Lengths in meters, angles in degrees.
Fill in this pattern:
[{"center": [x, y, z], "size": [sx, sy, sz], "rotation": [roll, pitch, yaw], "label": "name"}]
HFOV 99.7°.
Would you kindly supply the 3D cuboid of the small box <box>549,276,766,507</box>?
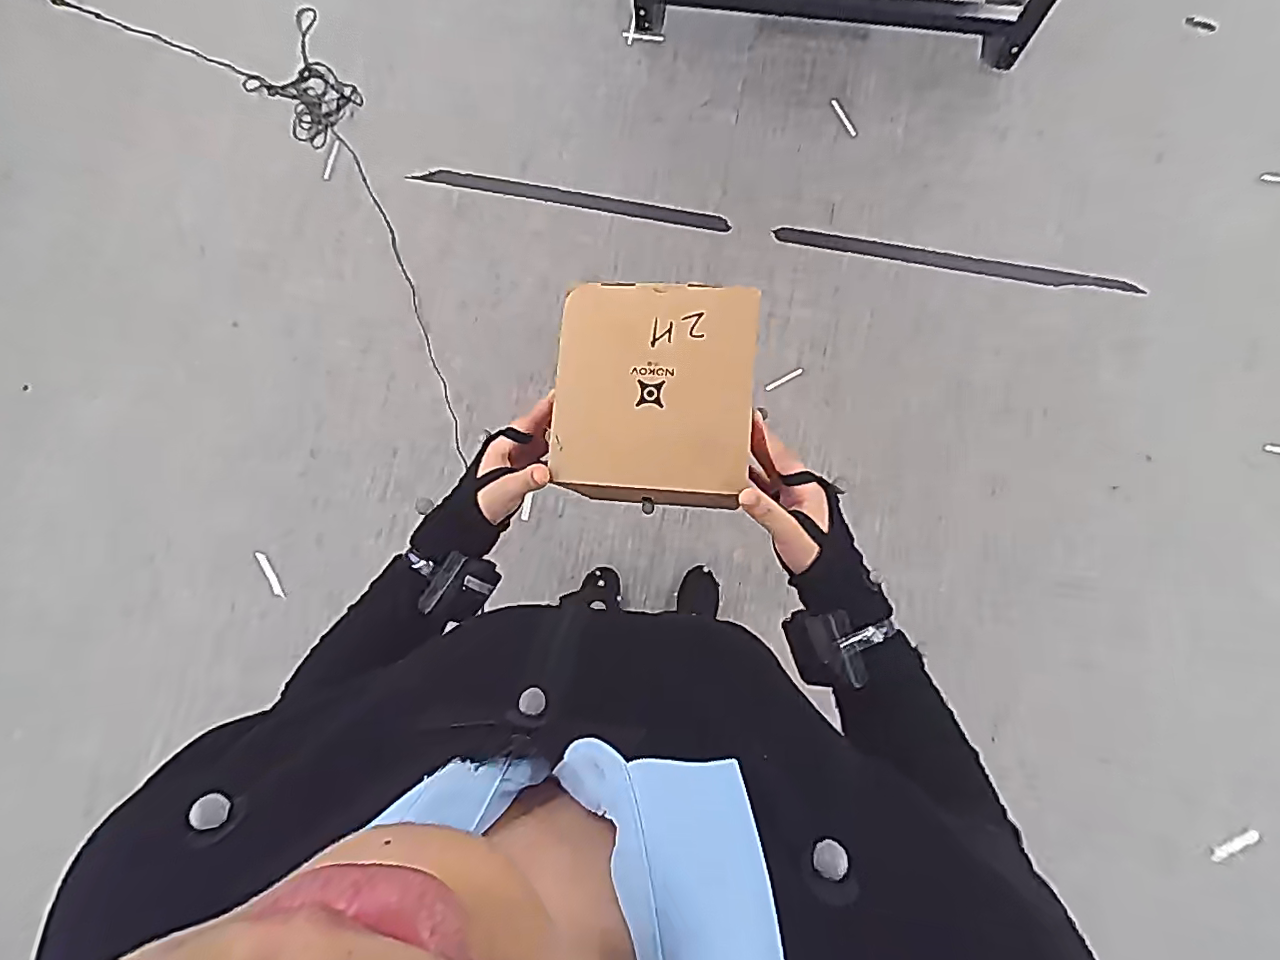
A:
[{"center": [0.024, -0.070, 0.514], "size": [0.168, 0.176, 0.179], "rotation": [4, 82, 7], "label": "small box"}]
